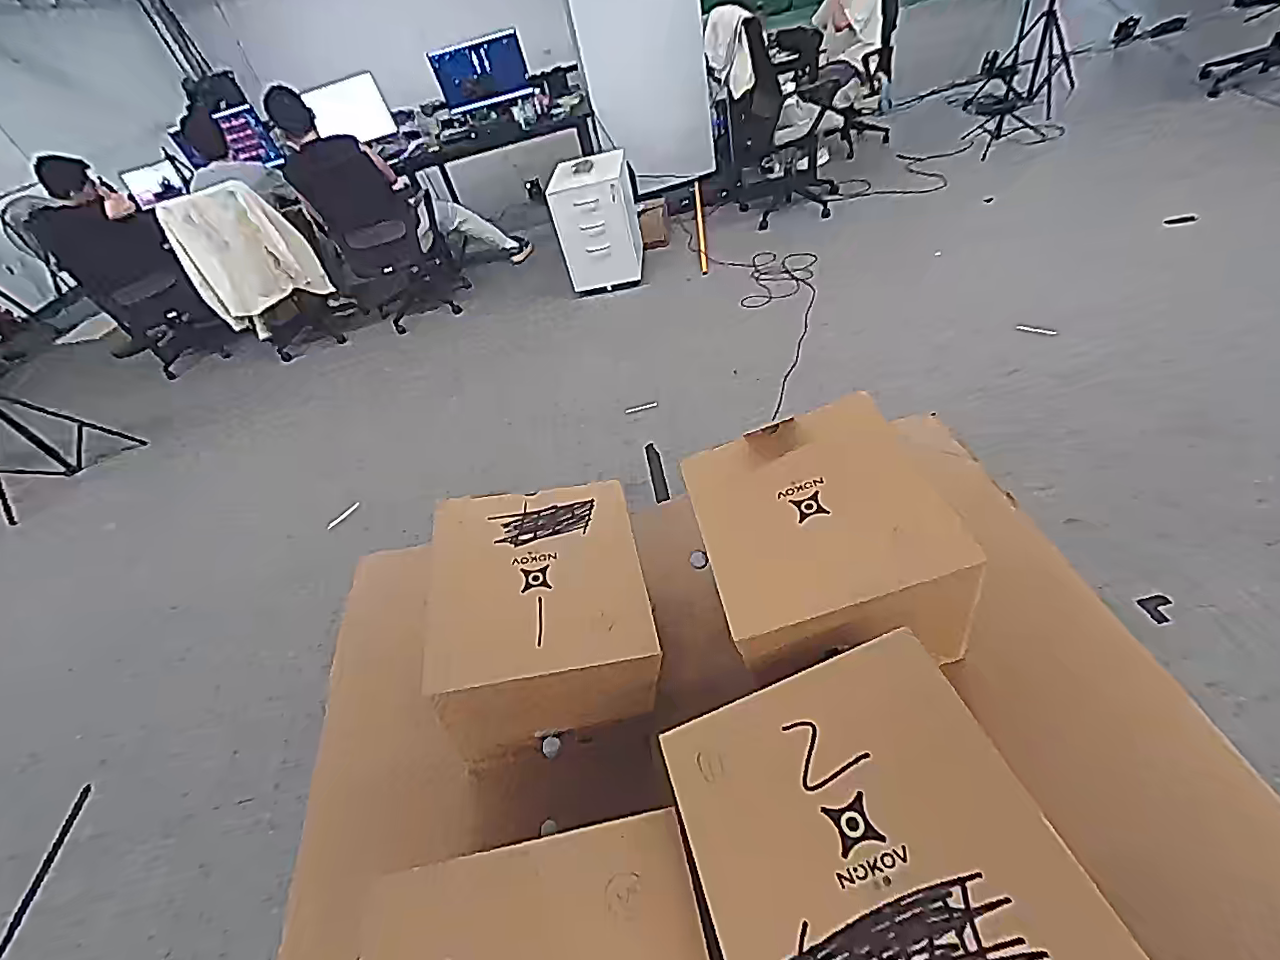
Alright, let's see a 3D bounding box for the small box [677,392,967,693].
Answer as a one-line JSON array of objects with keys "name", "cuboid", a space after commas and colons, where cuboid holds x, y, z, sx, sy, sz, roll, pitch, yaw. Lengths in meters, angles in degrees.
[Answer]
[{"name": "small box", "cuboid": [0.148, 0.063, 0.465, 0.168, 0.176, 0.179, -21, 45, 8]}]
